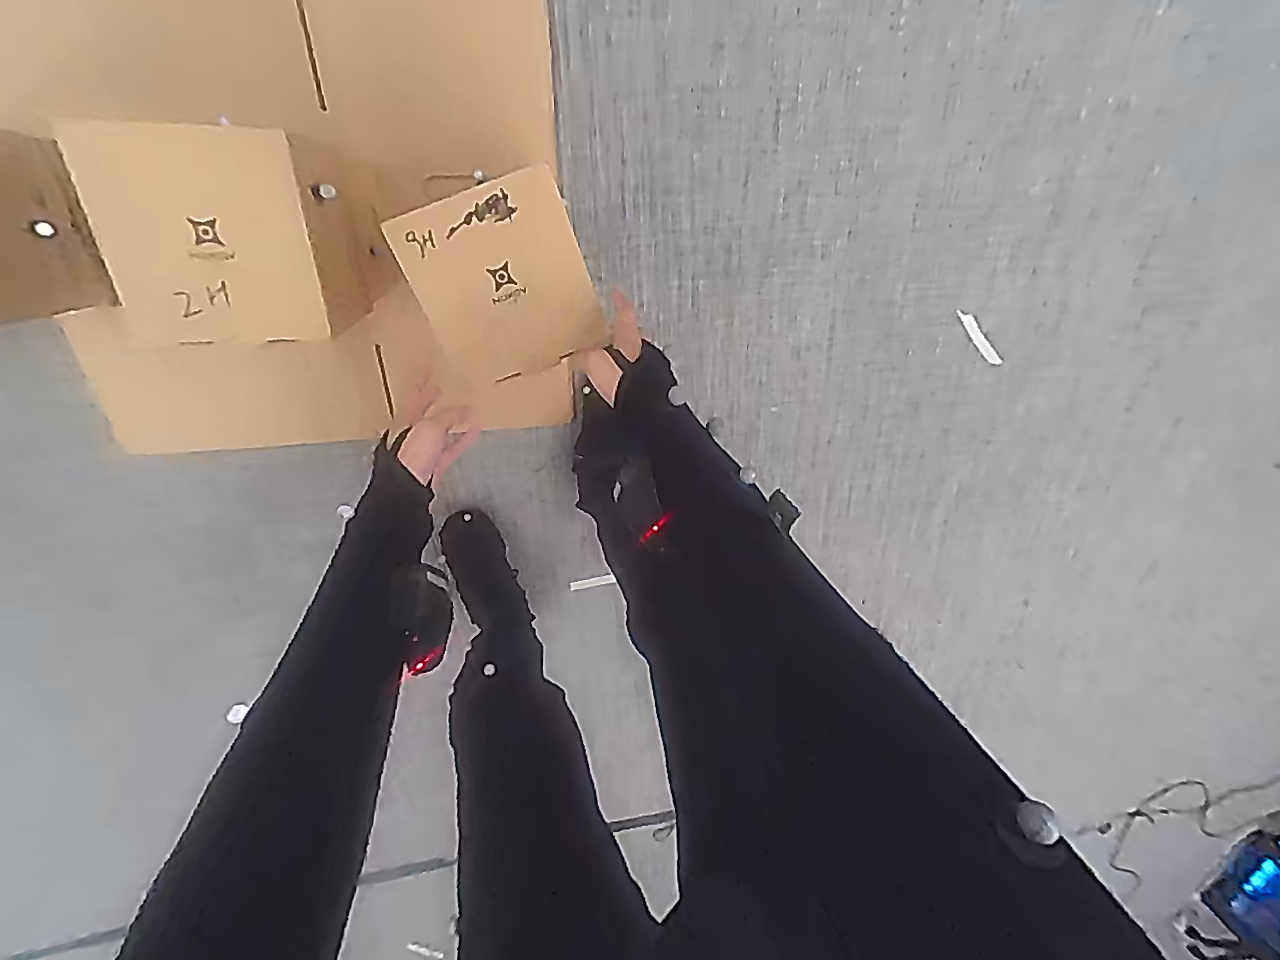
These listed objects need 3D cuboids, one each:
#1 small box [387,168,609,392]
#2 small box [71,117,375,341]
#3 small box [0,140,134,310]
[{"bbox_3d":[-0.145,-0.227,0.605,0.168,0.176,0.179,-21,120,-1],"label":"small box"},{"bbox_3d":[-0.383,-0.245,0.542,0.168,0.176,0.179,-4,118,-11],"label":"small box"},{"bbox_3d":[-0.686,-0.299,0.635,0.179,0.176,0.168,-5,117,-8],"label":"small box"}]
